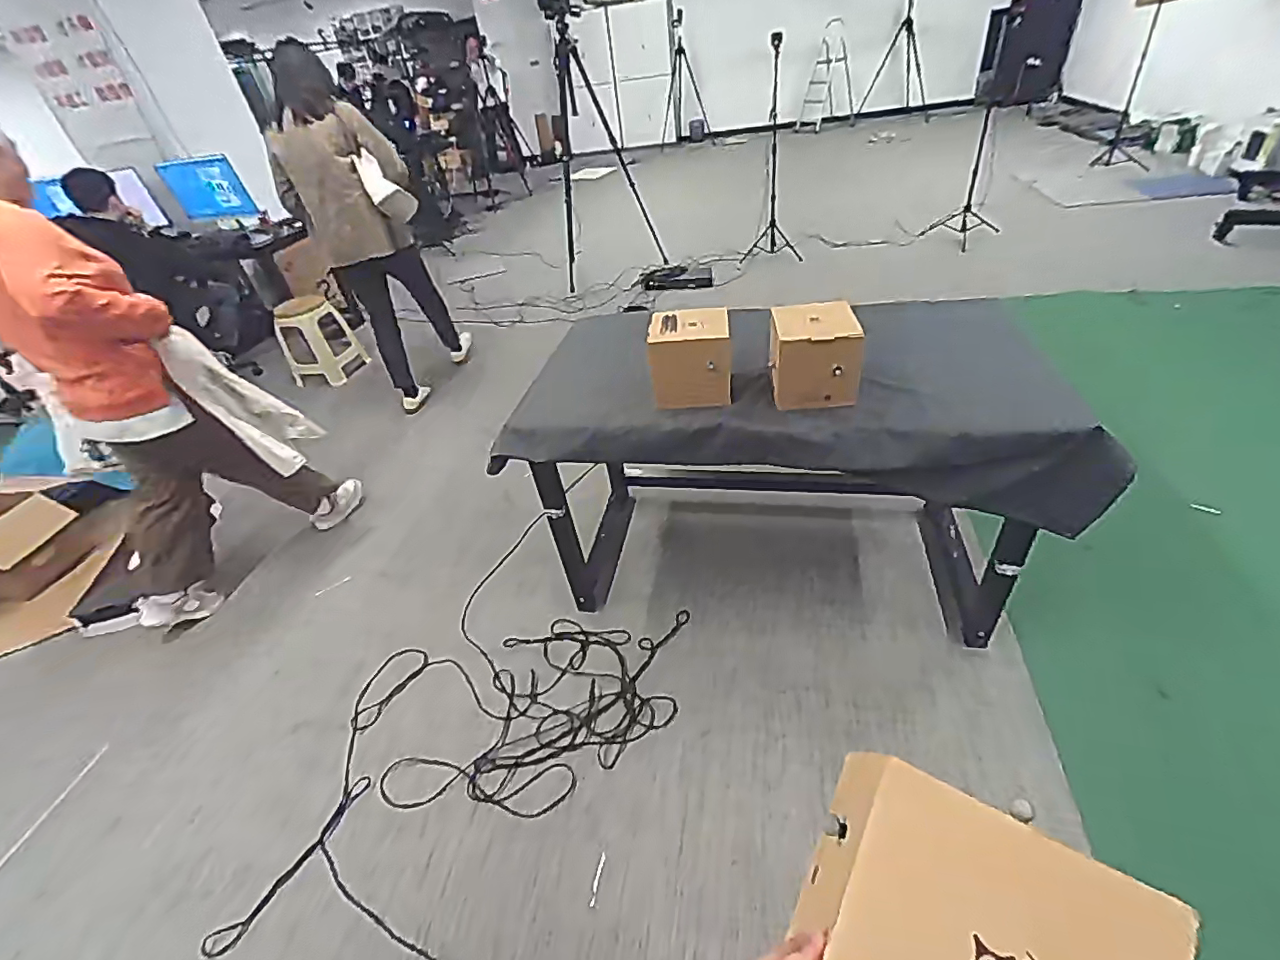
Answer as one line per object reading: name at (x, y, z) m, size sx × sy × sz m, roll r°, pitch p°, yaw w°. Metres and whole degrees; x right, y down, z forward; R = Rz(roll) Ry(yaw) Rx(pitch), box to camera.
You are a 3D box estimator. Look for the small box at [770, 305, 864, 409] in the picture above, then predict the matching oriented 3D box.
small box at (0.377, -0.265, 1.181) m, size 0.168 × 0.176 × 0.179 m, roll -2°, pitch 38°, yaw 7°
